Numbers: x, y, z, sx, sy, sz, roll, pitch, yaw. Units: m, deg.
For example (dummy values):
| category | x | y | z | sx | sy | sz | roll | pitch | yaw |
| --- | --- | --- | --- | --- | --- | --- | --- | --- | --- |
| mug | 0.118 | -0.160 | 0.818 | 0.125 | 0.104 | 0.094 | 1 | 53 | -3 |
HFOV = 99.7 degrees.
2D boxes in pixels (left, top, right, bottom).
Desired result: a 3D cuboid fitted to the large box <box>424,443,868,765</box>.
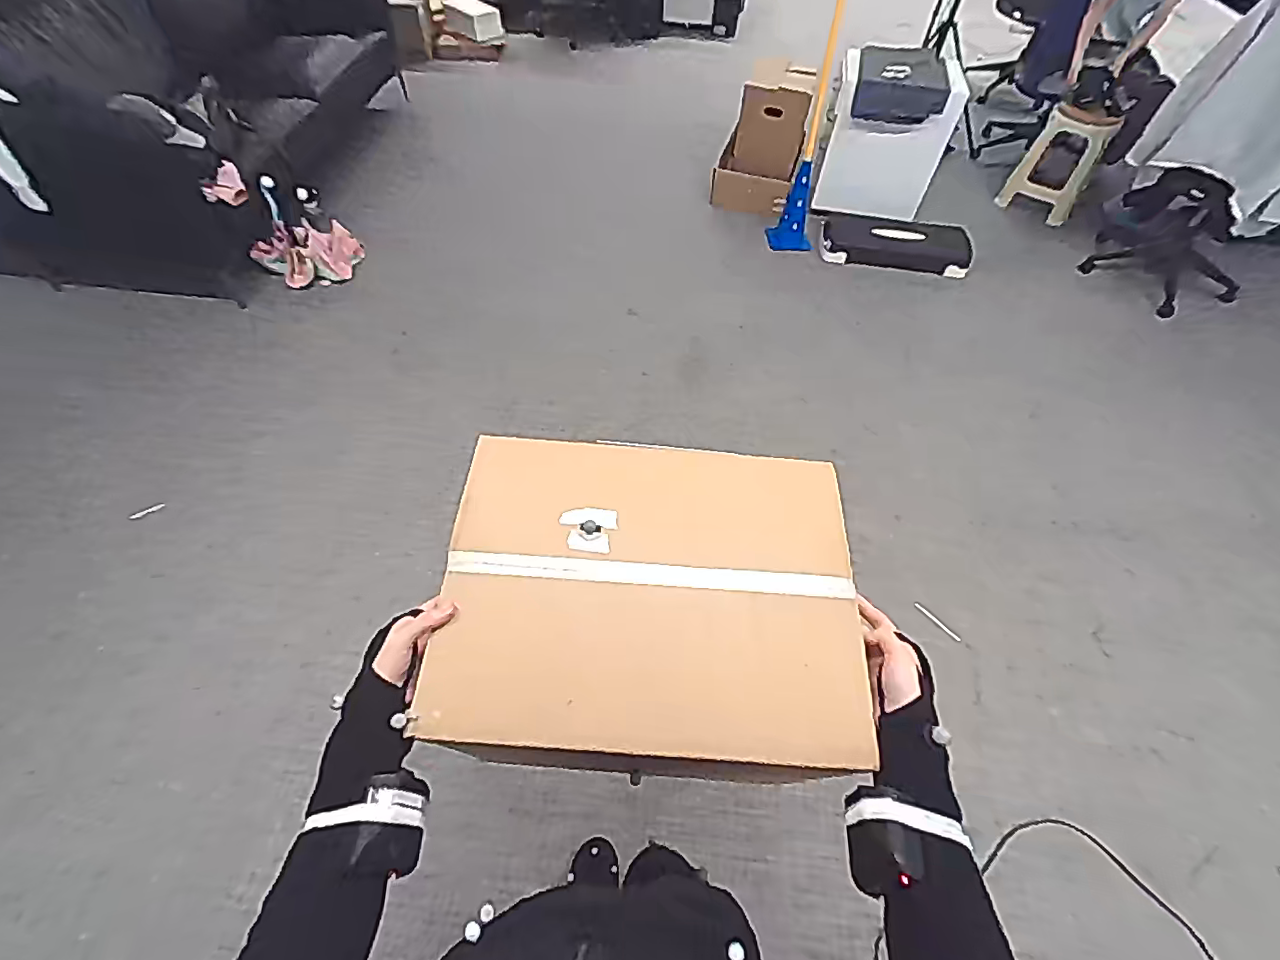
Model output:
| category | x | y | z | sx | sy | sz | roll | pitch | yaw |
| --- | --- | --- | --- | --- | --- | --- | --- | --- | --- |
| large box | 0.010 | 0.174 | 0.681 | 0.408 | 0.320 | 0.320 | 4 | 58 | 0 |
